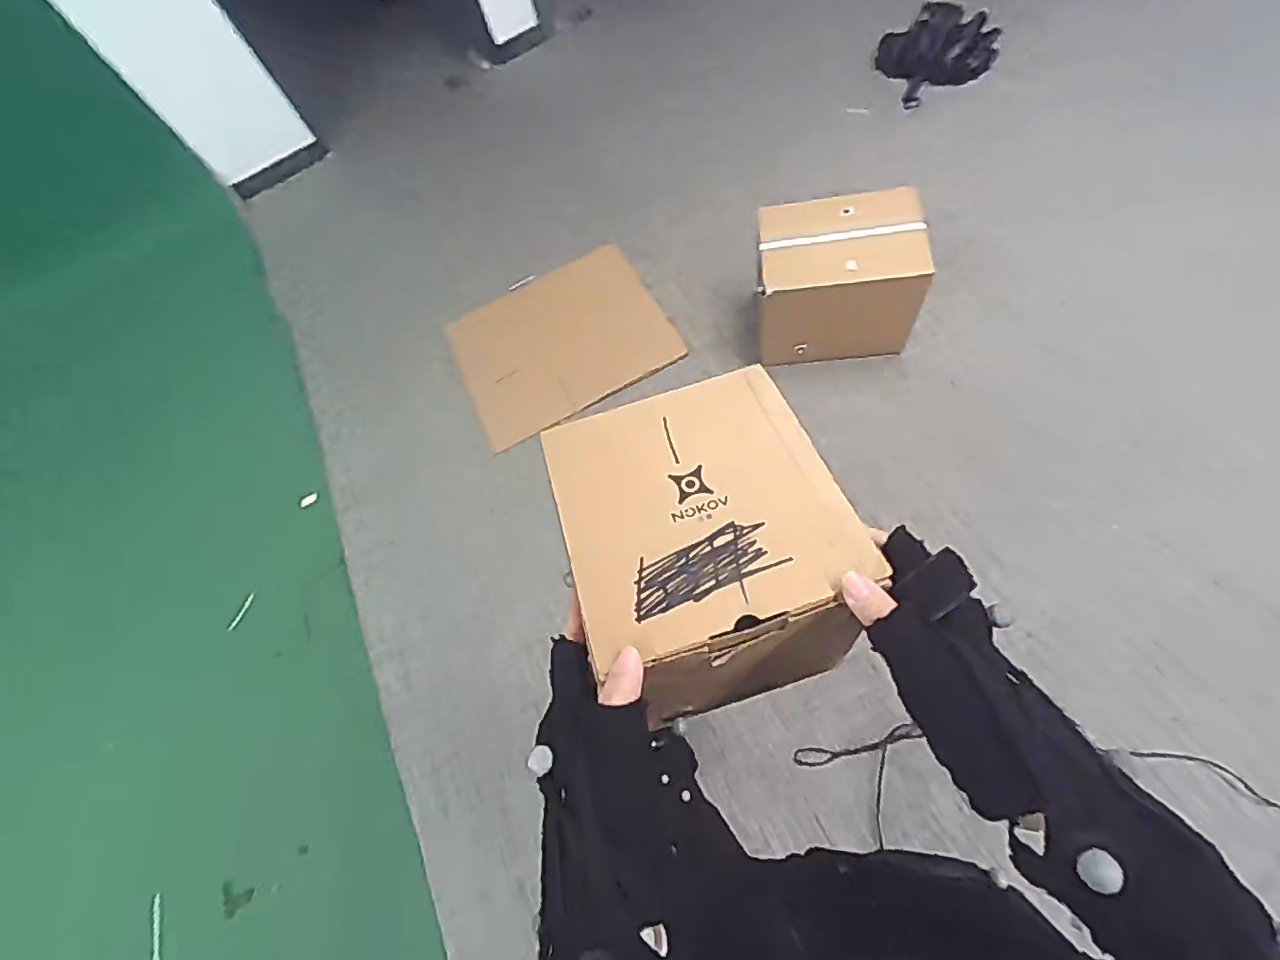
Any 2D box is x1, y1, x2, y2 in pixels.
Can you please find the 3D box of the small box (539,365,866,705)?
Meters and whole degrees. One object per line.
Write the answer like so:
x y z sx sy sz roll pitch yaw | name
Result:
0.039 0.052 0.404 0.168 0.176 0.179 -17 54 -2 | small box
